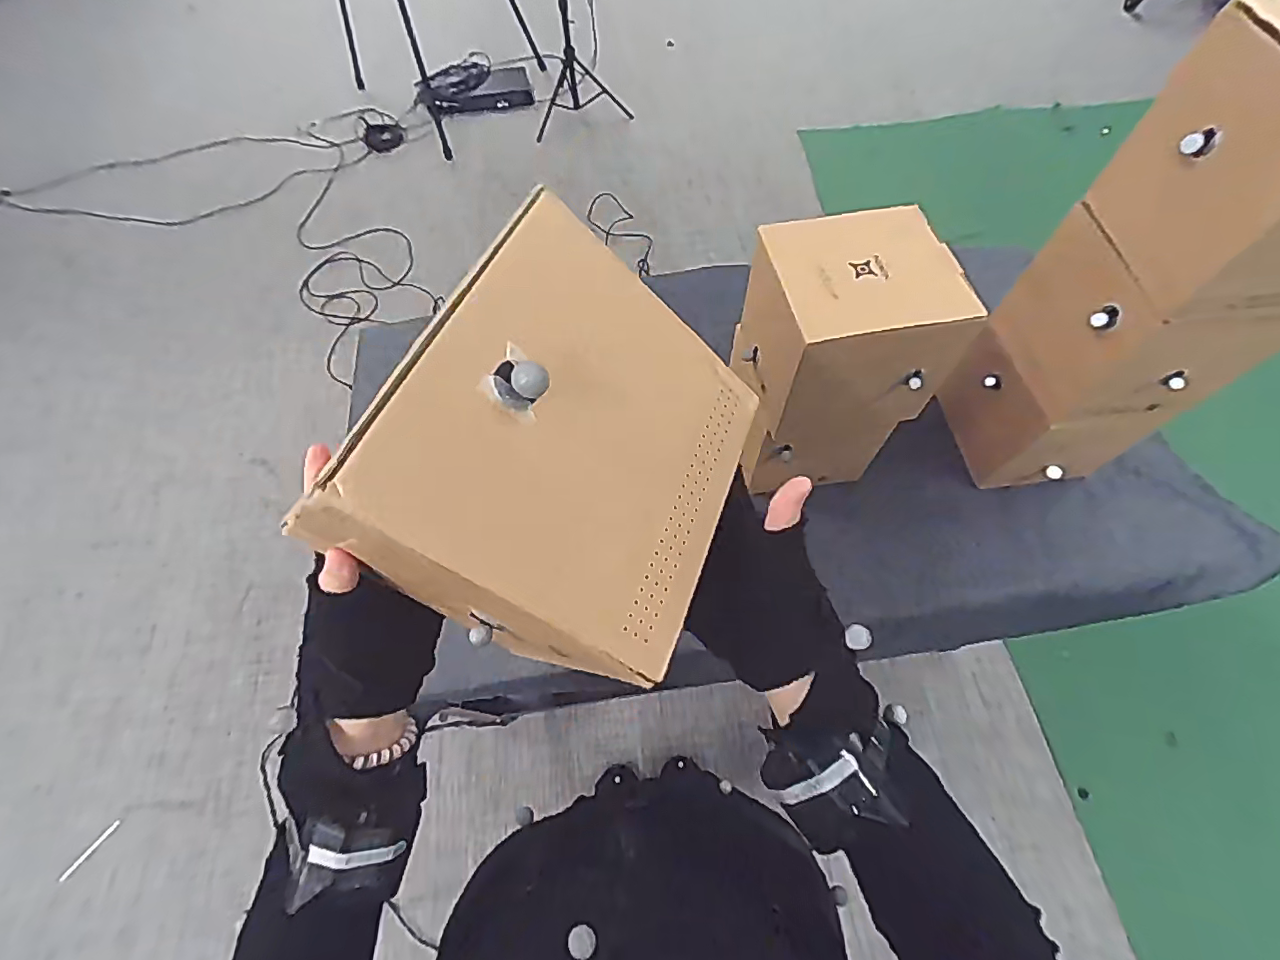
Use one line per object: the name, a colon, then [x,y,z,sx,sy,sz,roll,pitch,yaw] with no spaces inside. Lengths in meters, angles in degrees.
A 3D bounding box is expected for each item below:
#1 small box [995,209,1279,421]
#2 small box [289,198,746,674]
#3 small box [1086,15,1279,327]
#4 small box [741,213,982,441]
small box: [0.544,-0.178,0.600,0.168,0.176,0.179,-5,62,0]
small box: [-0.062,-0.010,0.319,0.176,0.168,0.179,37,61,-27]
small box: [0.537,-0.254,0.454,0.168,0.176,0.179,-4,61,1]
small box: [0.224,-0.163,0.605,0.179,0.176,0.168,-9,61,-2]
